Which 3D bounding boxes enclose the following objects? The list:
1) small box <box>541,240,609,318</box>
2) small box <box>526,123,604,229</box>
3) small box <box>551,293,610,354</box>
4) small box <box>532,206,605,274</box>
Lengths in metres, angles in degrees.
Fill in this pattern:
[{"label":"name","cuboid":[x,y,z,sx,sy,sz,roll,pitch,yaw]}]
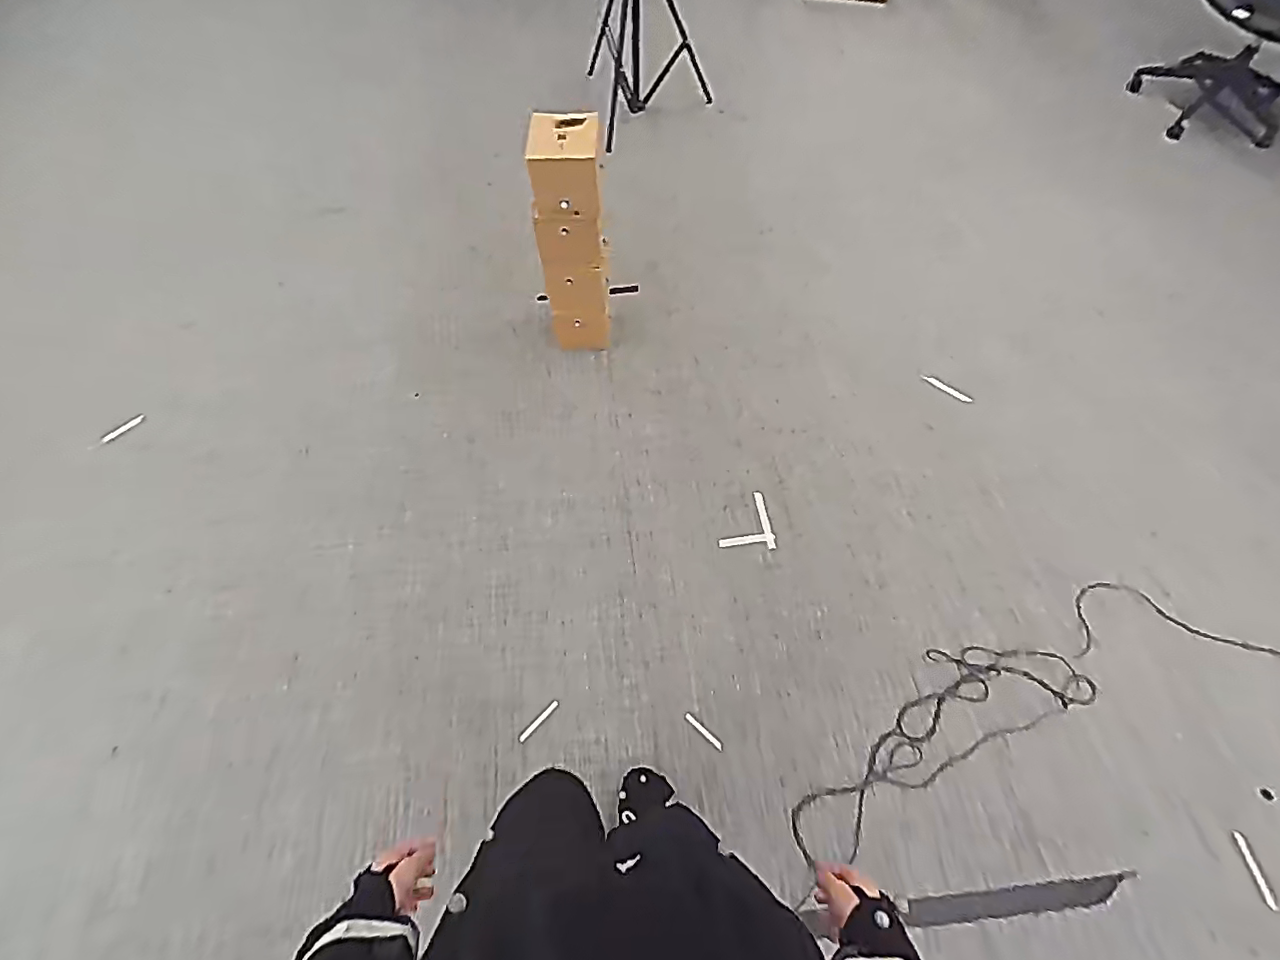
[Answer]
[{"label":"small box","cuboid":[-0.192,-0.615,1.655,0.179,0.176,0.168,3,64,2]},{"label":"small box","cuboid":[-0.182,-0.767,1.366,0.168,0.176,0.179,0,65,2]},{"label":"small box","cuboid":[-0.190,-0.533,1.798,0.179,0.176,0.168,0,63,1]},{"label":"small box","cuboid":[-0.194,-0.696,1.515,0.179,0.176,0.168,1,64,0]}]
